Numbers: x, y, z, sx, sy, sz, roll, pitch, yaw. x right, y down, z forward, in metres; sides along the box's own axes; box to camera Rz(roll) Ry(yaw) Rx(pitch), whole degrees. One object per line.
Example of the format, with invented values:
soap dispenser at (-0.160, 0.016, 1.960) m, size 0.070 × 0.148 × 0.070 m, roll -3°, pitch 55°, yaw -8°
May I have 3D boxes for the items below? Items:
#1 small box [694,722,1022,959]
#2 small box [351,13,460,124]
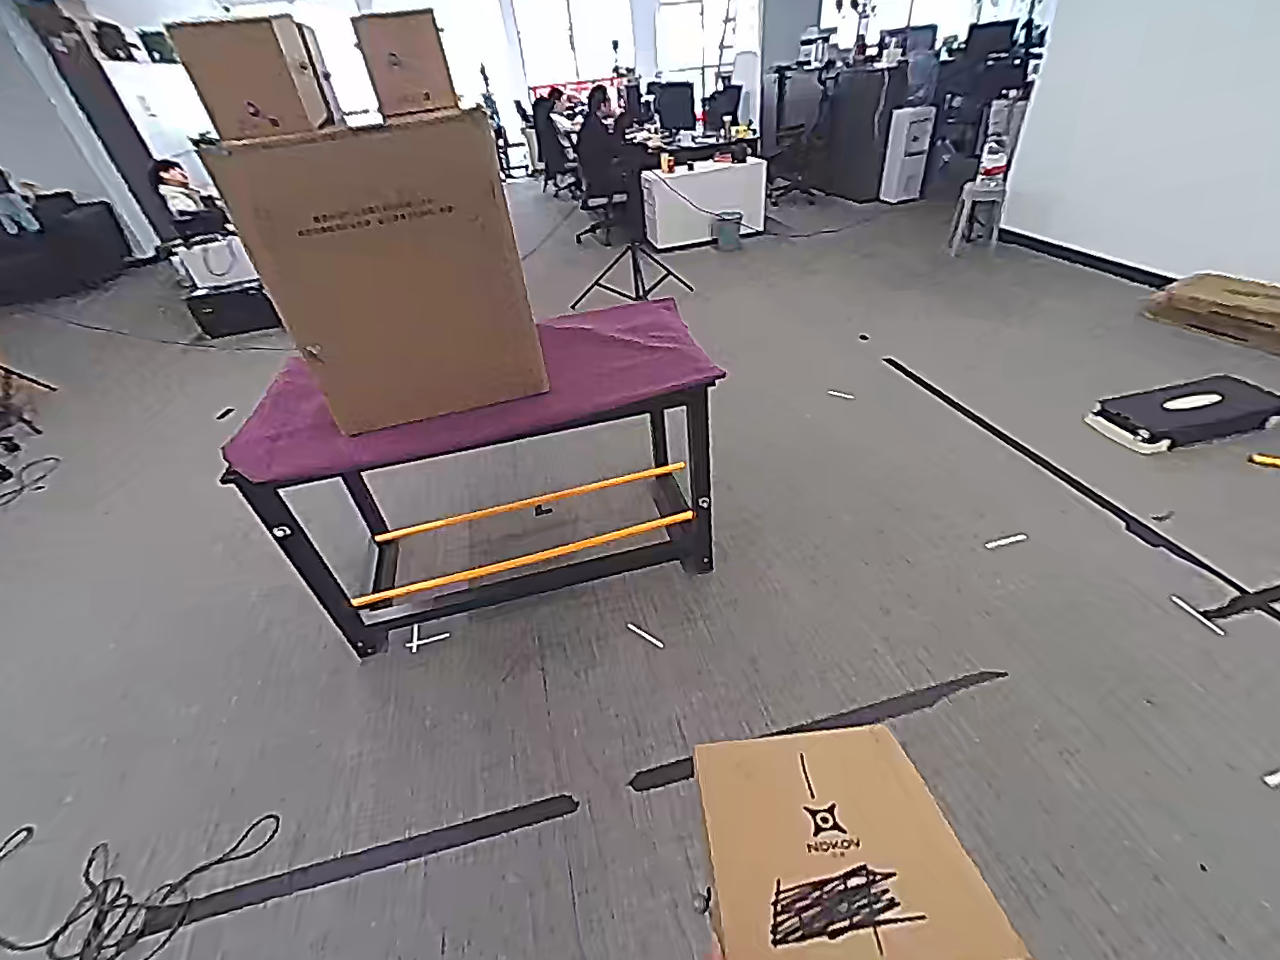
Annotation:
small box at (0.137, 0.316, 0.398) m, size 0.168 × 0.176 × 0.179 m, roll -7°, pitch 19°, yaw 0°
small box at (-0.499, -0.886, 1.175) m, size 0.168 × 0.176 × 0.179 m, roll -16°, pitch 38°, yaw -9°
